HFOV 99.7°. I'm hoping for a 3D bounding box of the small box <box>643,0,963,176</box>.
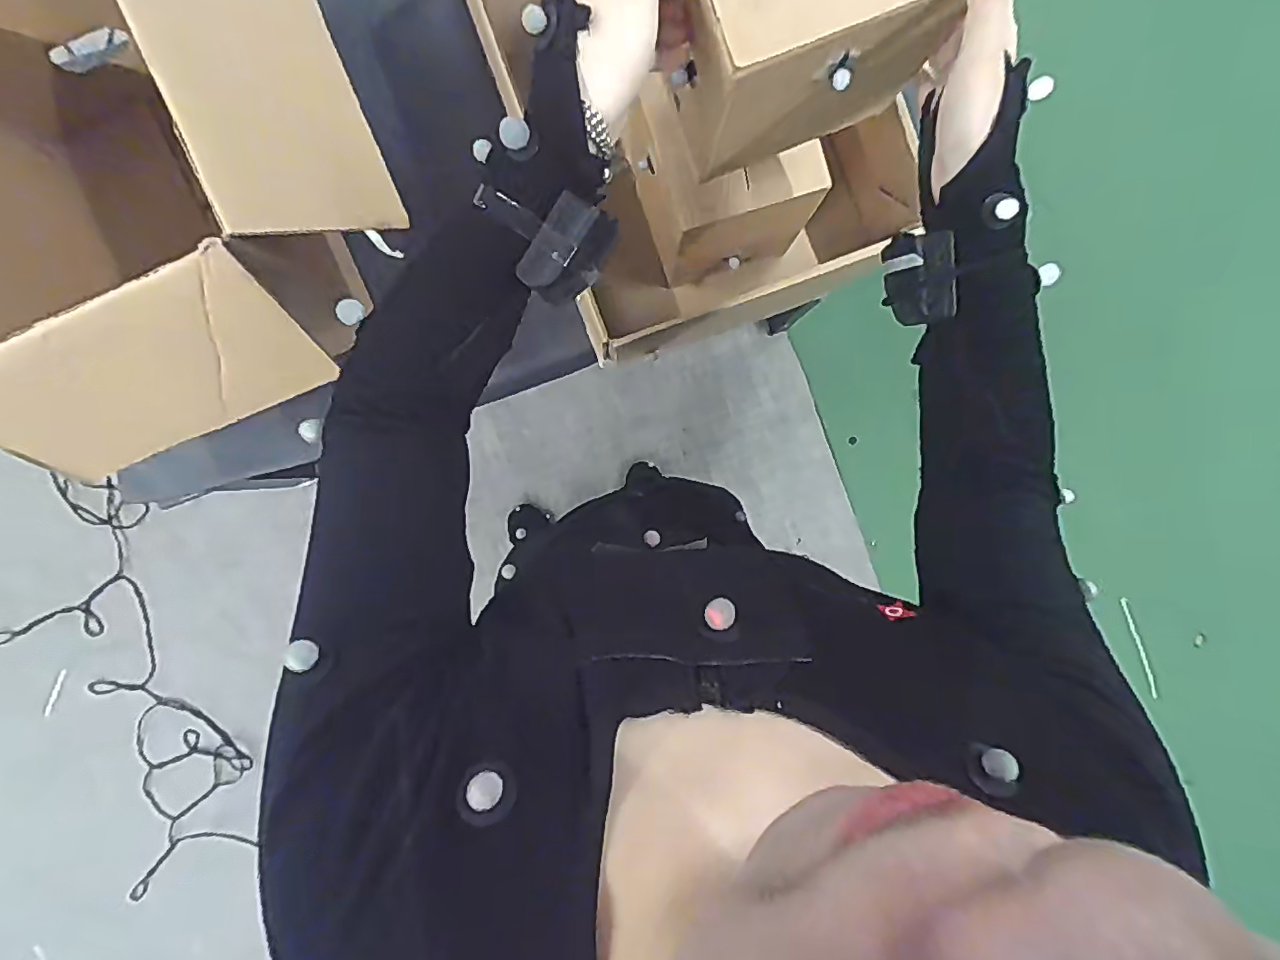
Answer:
[{"bbox_3d":[0.103,-0.357,0.391,0.179,0.176,0.168,-21,99,1],"label":"small box"}]
